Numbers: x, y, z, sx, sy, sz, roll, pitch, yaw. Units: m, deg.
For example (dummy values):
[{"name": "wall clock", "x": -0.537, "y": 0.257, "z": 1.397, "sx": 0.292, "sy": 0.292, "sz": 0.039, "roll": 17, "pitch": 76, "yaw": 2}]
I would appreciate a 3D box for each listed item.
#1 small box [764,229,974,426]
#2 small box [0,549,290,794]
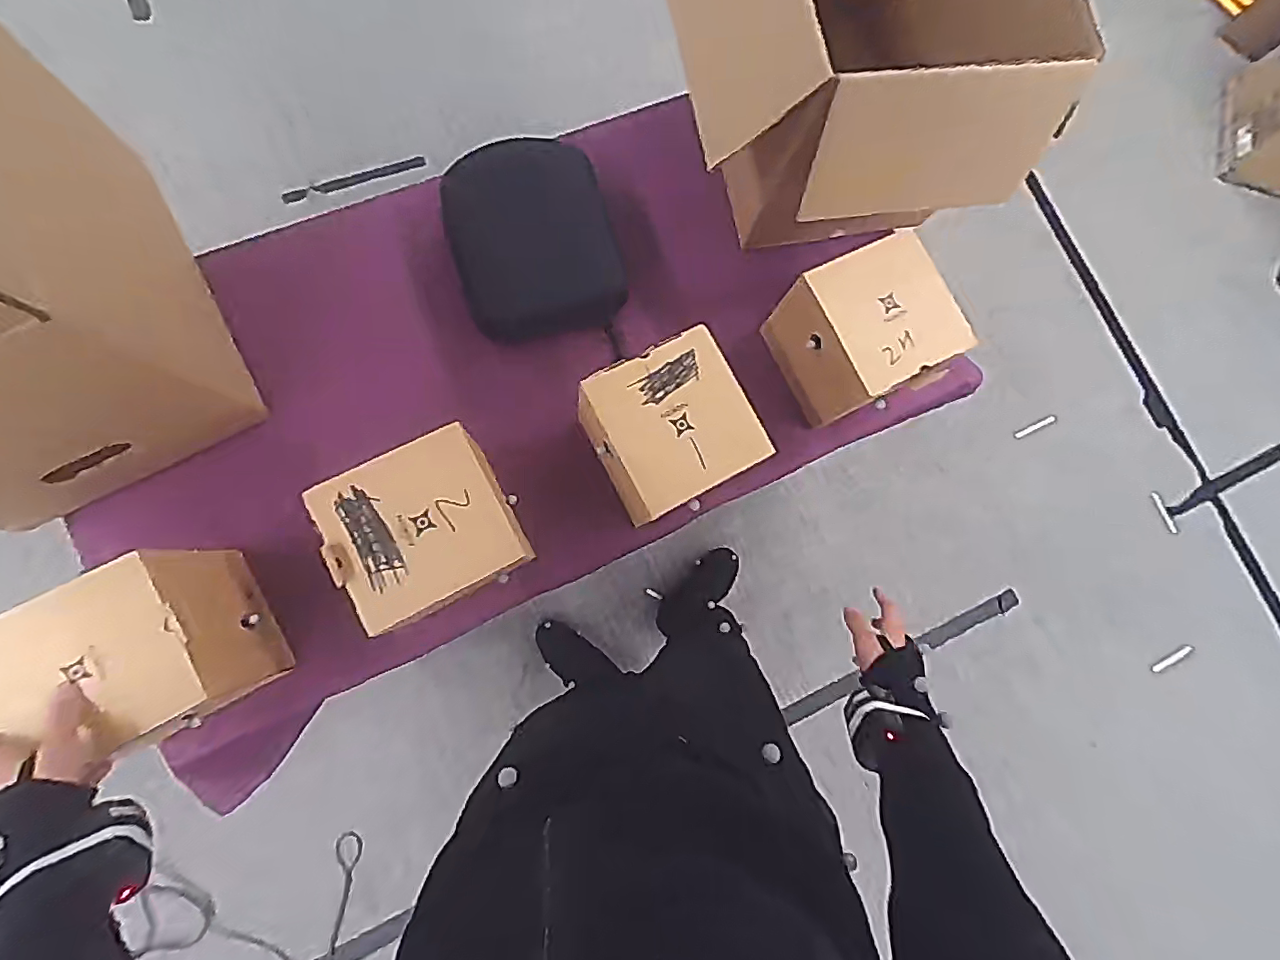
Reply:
[{"name": "small box", "x": 0.295, "y": -0.197, "z": 0.740, "sx": 0.168, "sy": 0.176, "sz": 0.179, "roll": -26, "pitch": 86, "yaw": -8}, {"name": "small box", "x": -0.535, "y": 0.190, "z": 0.588, "sx": 0.179, "sy": 0.176, "sz": 0.168, "roll": -28, "pitch": 86, "yaw": -11}]
